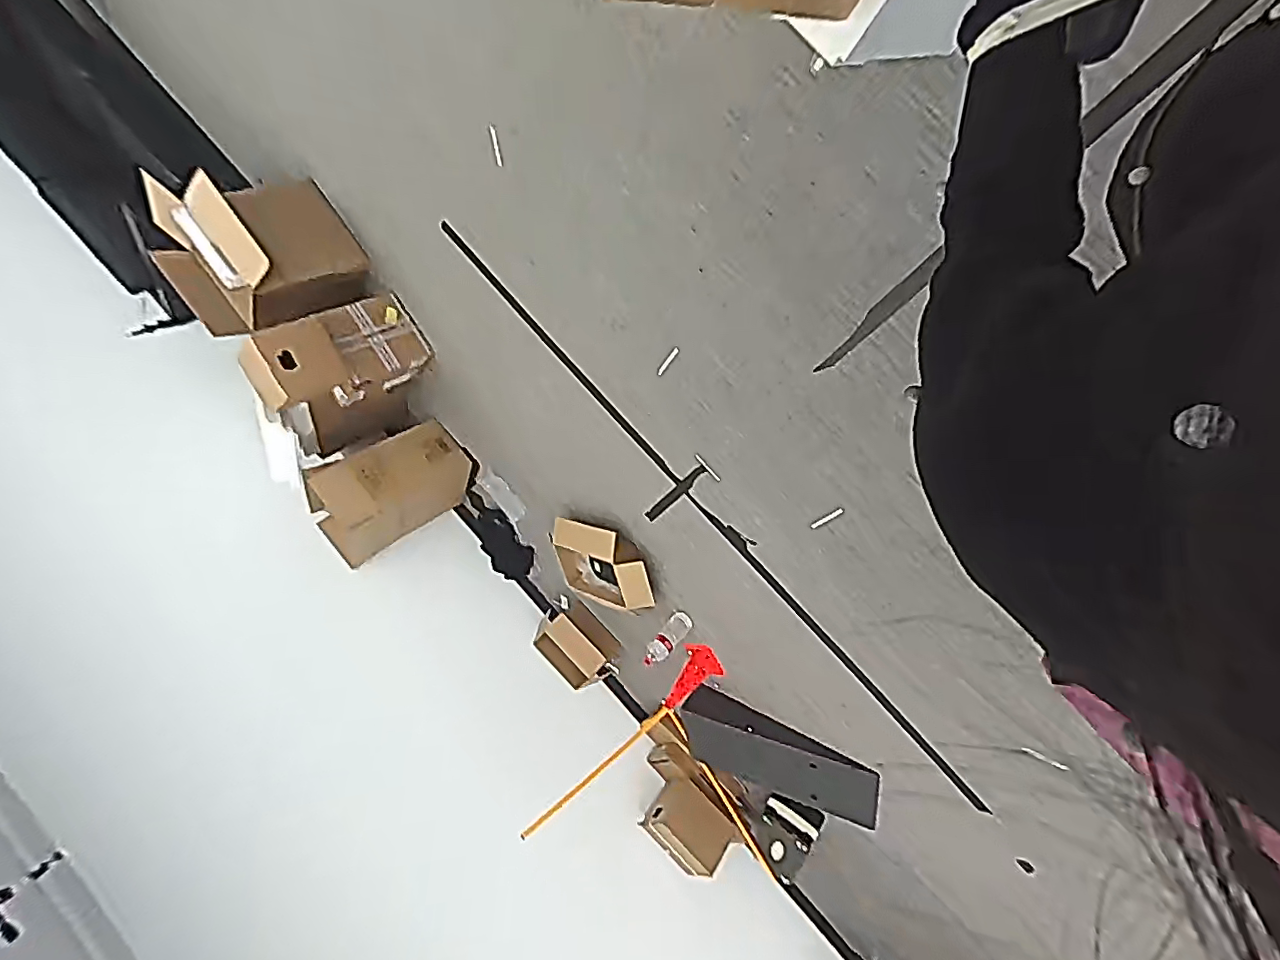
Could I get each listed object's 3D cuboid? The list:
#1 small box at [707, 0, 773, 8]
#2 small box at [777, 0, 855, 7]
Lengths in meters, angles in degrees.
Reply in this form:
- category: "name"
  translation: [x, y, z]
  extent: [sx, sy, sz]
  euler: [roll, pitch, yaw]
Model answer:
- category: "small box"
  translation: [0.094, -0.582, 0.495]
  extent: [0.179, 0.176, 0.168]
  euler: [48, 143, 5]
- category: "small box"
  translation: [0.194, -0.664, 0.595]
  extent: [0.179, 0.176, 0.168]
  euler: [50, 142, 4]
